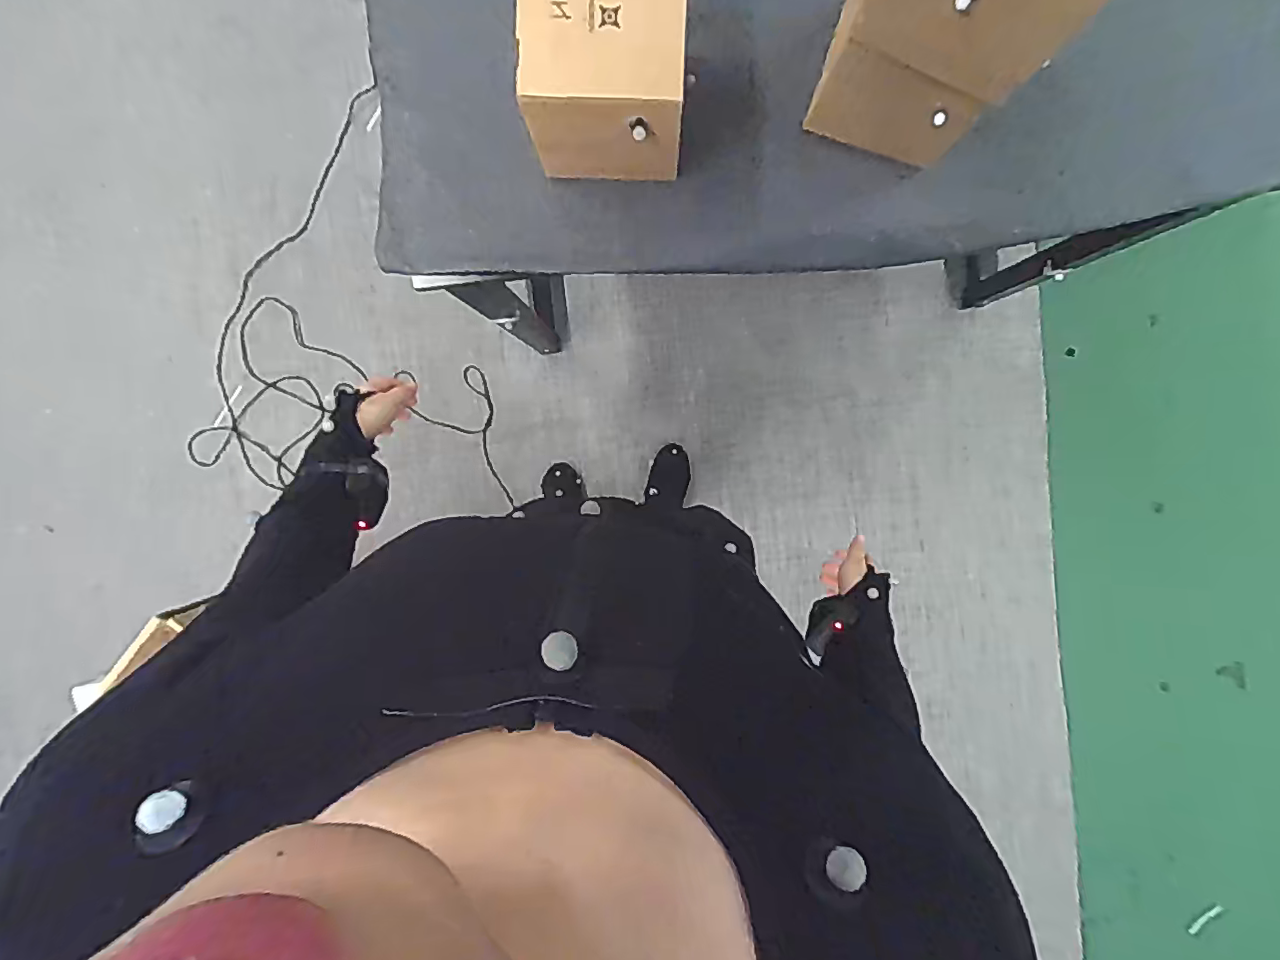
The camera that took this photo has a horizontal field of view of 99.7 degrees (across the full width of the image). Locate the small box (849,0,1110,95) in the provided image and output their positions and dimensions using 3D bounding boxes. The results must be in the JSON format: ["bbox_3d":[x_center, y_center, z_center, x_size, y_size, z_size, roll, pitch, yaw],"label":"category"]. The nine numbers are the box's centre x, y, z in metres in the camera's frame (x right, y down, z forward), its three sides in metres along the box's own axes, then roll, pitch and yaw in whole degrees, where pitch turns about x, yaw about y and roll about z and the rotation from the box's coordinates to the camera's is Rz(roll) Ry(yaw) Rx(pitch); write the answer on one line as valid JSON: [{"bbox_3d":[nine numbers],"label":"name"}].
[{"bbox_3d":[0.313,-0.474,0.454,0.179,0.176,0.168,26,94,0],"label":"small box"}]

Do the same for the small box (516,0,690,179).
[{"bbox_3d":[-0.036,-0.476,0.632,0.179,0.176,0.168,3,93,2],"label":"small box"}]
